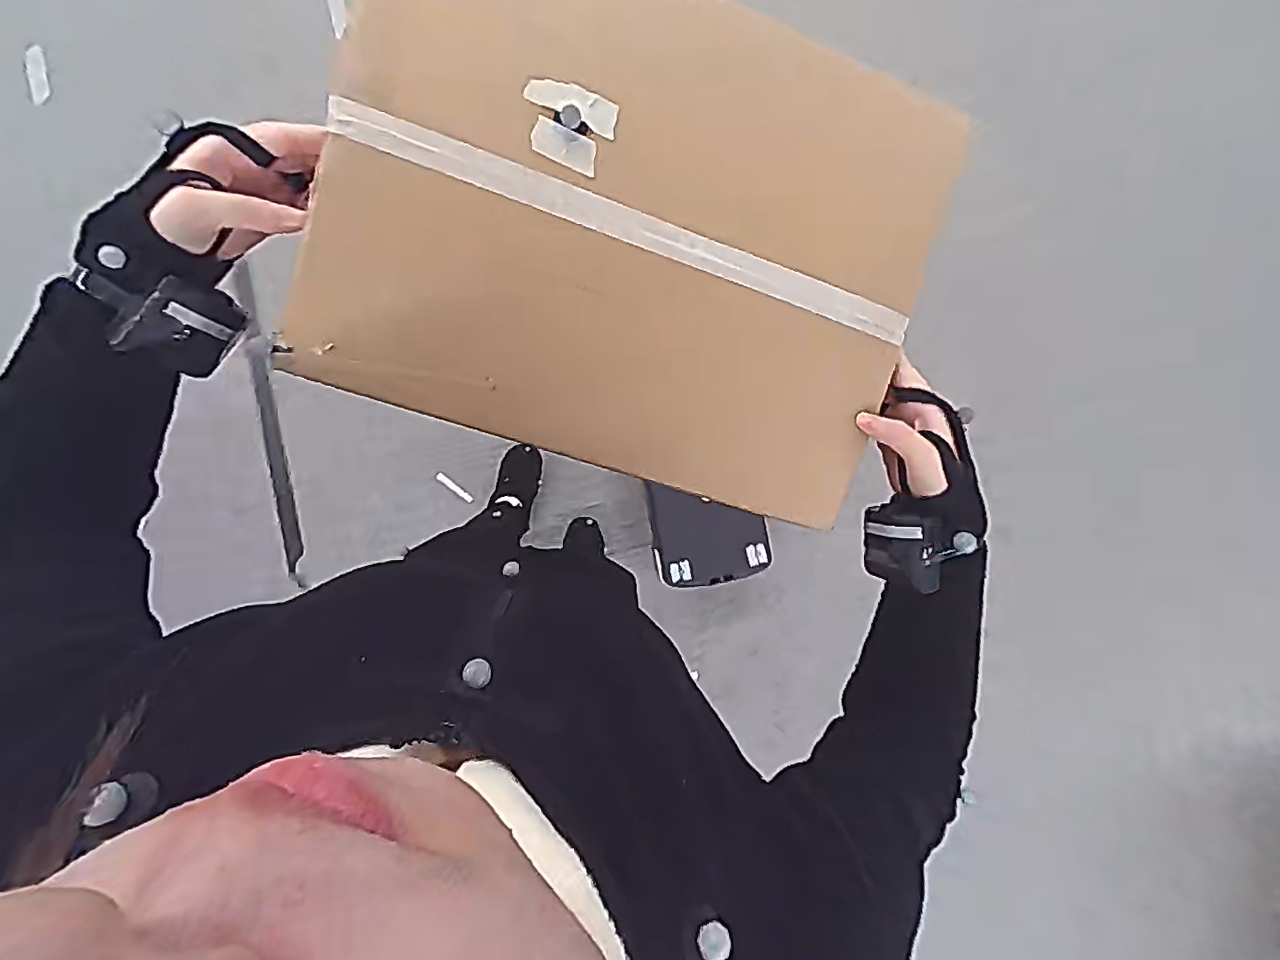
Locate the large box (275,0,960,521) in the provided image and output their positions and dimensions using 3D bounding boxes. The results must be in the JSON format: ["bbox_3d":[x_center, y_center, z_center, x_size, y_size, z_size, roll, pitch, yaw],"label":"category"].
[{"bbox_3d":[-0.023,-0.182,0.504,0.408,0.320,0.320,15,95,-10],"label":"large box"}]

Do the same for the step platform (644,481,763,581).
[{"bbox_3d":[0.137,-0.082,1.418,0.286,0.204,0.684,-6,88,-3],"label":"step platform"}]
